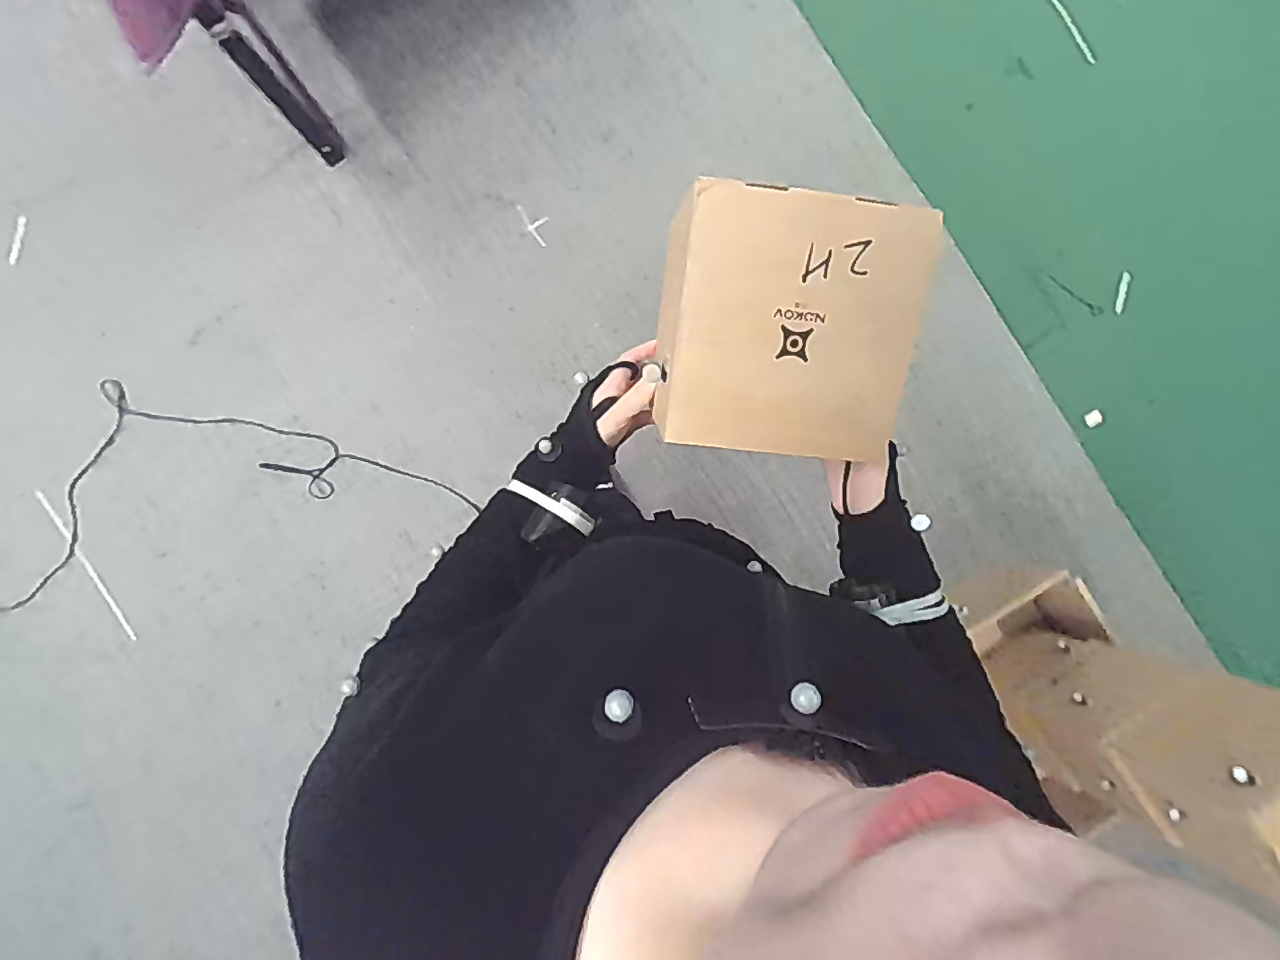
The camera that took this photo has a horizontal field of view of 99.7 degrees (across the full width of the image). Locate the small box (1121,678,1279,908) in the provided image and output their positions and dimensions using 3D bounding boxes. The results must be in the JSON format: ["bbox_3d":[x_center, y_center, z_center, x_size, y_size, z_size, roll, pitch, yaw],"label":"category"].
[{"bbox_3d":[0.738,0.365,0.630,0.179,0.176,0.168,-36,89,0],"label":"small box"}]

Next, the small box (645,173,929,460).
[{"bbox_3d":[0.096,-0.127,0.445,0.168,0.176,0.179,5,106,-5],"label":"small box"}]

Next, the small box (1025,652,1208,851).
[{"bbox_3d":[0.724,0.375,0.792,0.168,0.176,0.179,-35,90,-1],"label":"small box"}]
